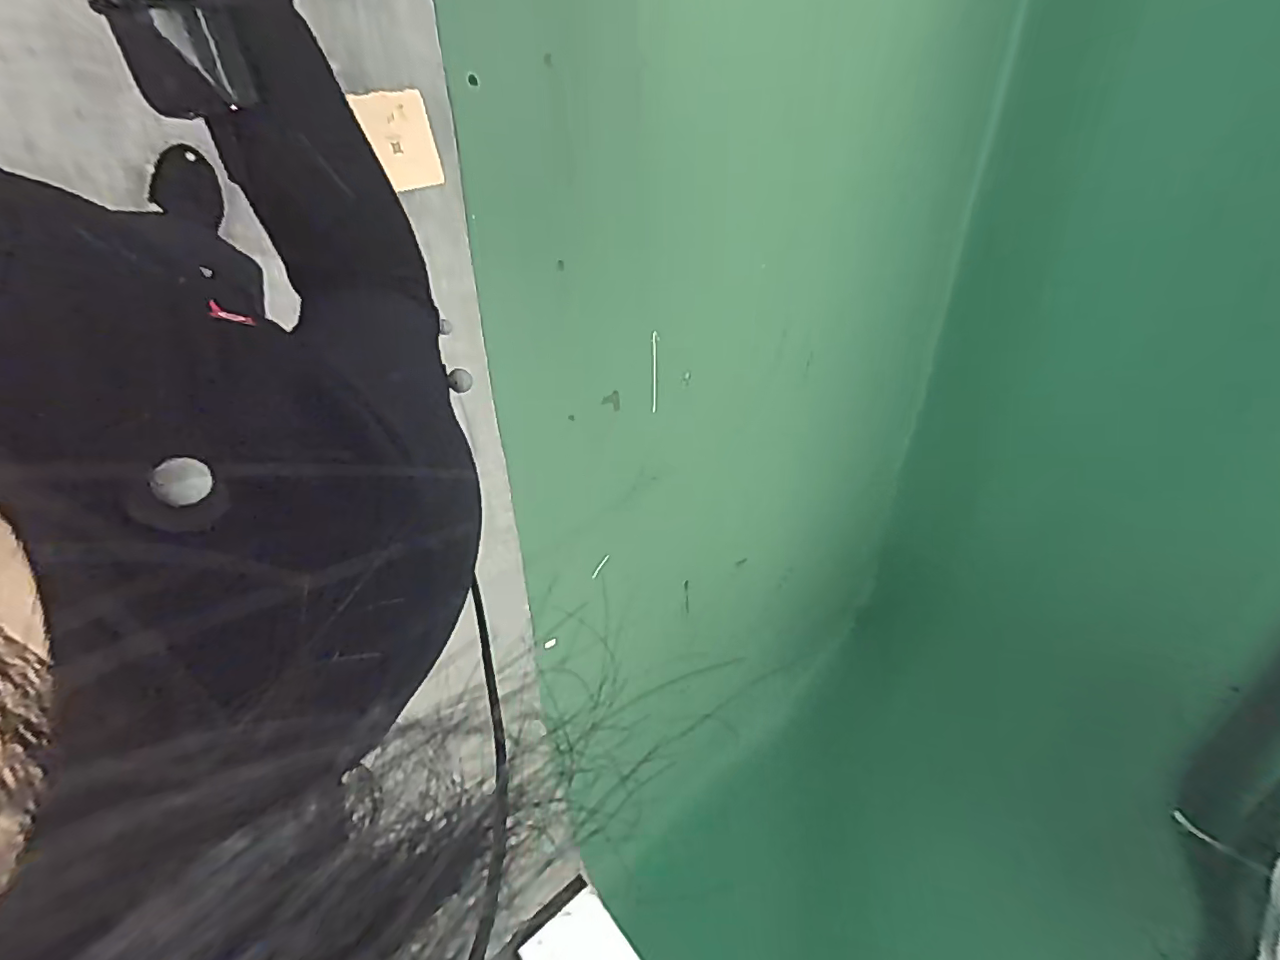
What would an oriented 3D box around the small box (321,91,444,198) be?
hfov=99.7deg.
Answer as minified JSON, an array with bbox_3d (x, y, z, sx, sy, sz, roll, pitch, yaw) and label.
[{"bbox_3d":[-0.554,-0.720,1.165,0.168,0.176,0.179,-30,130,-30],"label":"small box"}]
